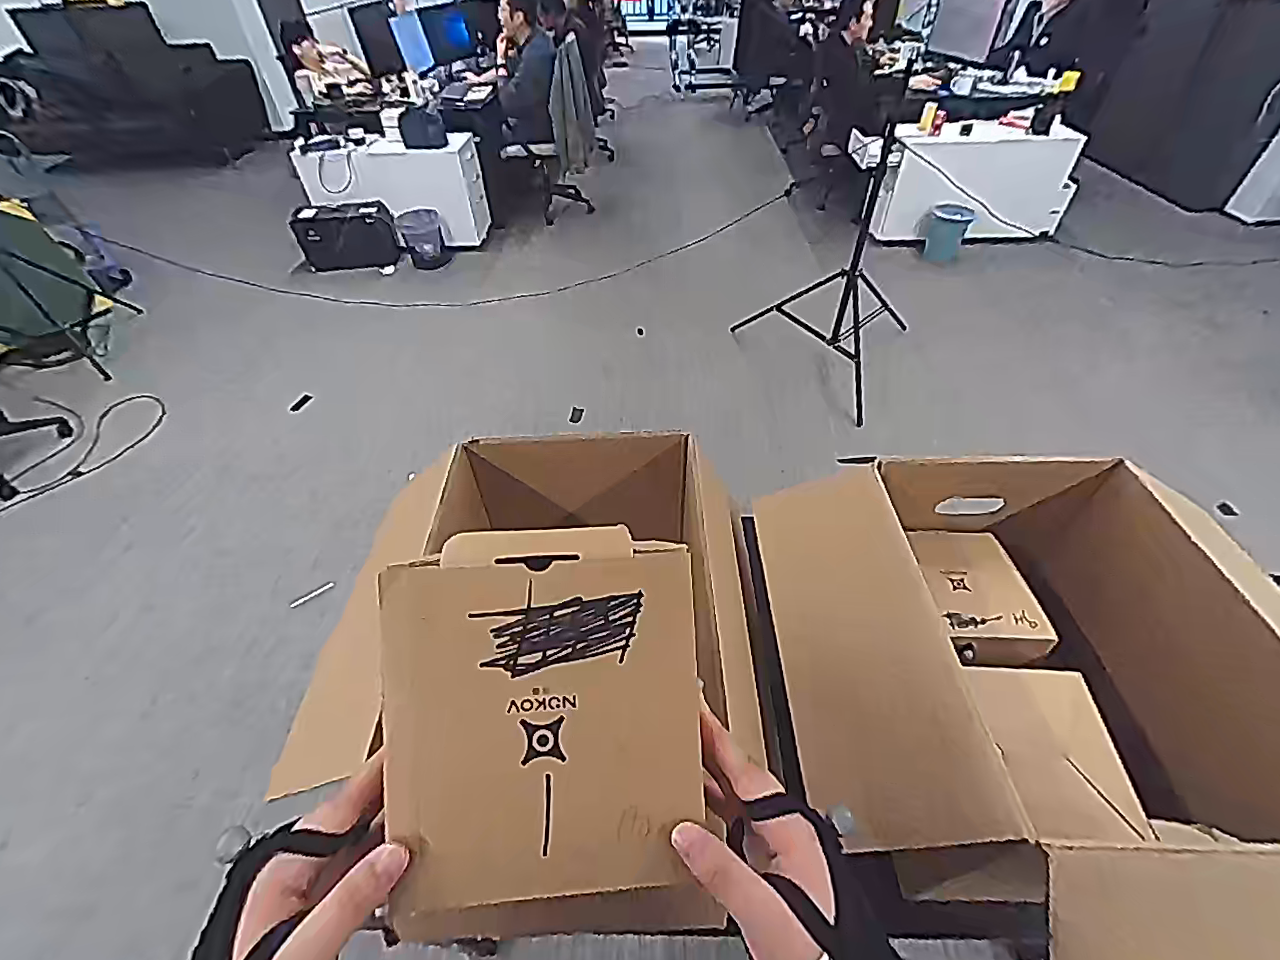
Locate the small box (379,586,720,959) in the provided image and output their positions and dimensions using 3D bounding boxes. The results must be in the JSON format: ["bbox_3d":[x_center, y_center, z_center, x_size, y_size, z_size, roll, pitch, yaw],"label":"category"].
[{"bbox_3d":[-0.052,0.164,0.348,0.168,0.176,0.179,-3,86,-5],"label":"small box"}]
